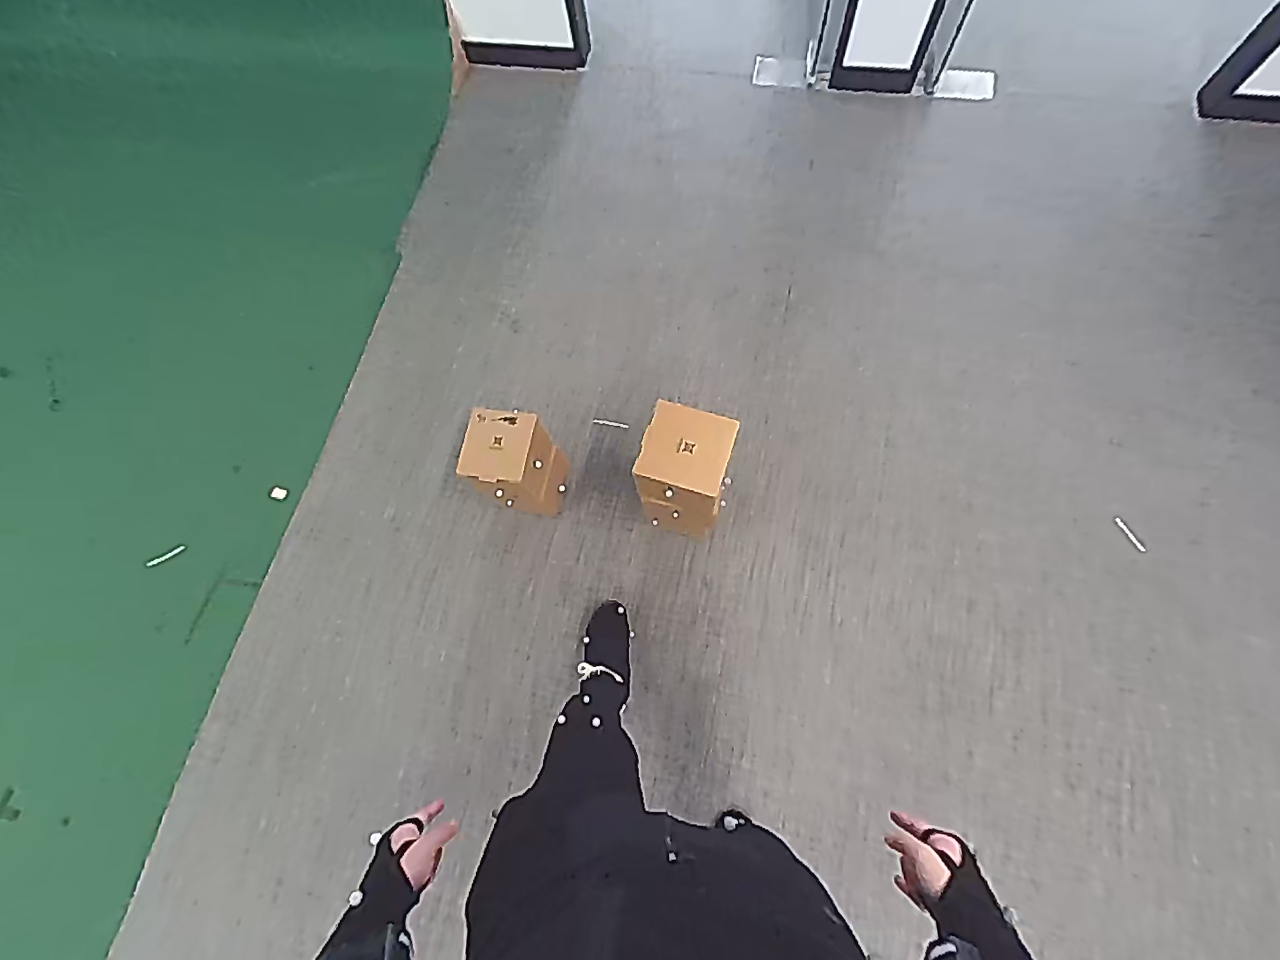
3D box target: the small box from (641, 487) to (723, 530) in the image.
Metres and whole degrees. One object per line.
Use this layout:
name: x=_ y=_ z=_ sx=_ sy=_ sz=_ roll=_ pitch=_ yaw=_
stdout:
small box: x=0.109 y=0.013 z=1.301 sx=0.179 sy=0.176 sz=0.168 roll=12 pitch=74 yaw=8

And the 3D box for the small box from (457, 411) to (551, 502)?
small box: x=-0.332 y=-0.053 z=1.362 sx=0.168 sy=0.176 sz=0.179 roll=7 pitch=73 yaw=7

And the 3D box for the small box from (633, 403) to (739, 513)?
small box: x=0.099 y=-0.039 z=1.148 sx=0.179 sy=0.176 sz=0.168 roll=16 pitch=75 yaw=10

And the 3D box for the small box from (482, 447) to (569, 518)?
small box: x=-0.315 y=-0.001 z=1.516 sx=0.179 sy=0.176 sz=0.168 roll=10 pitch=73 yaw=7
